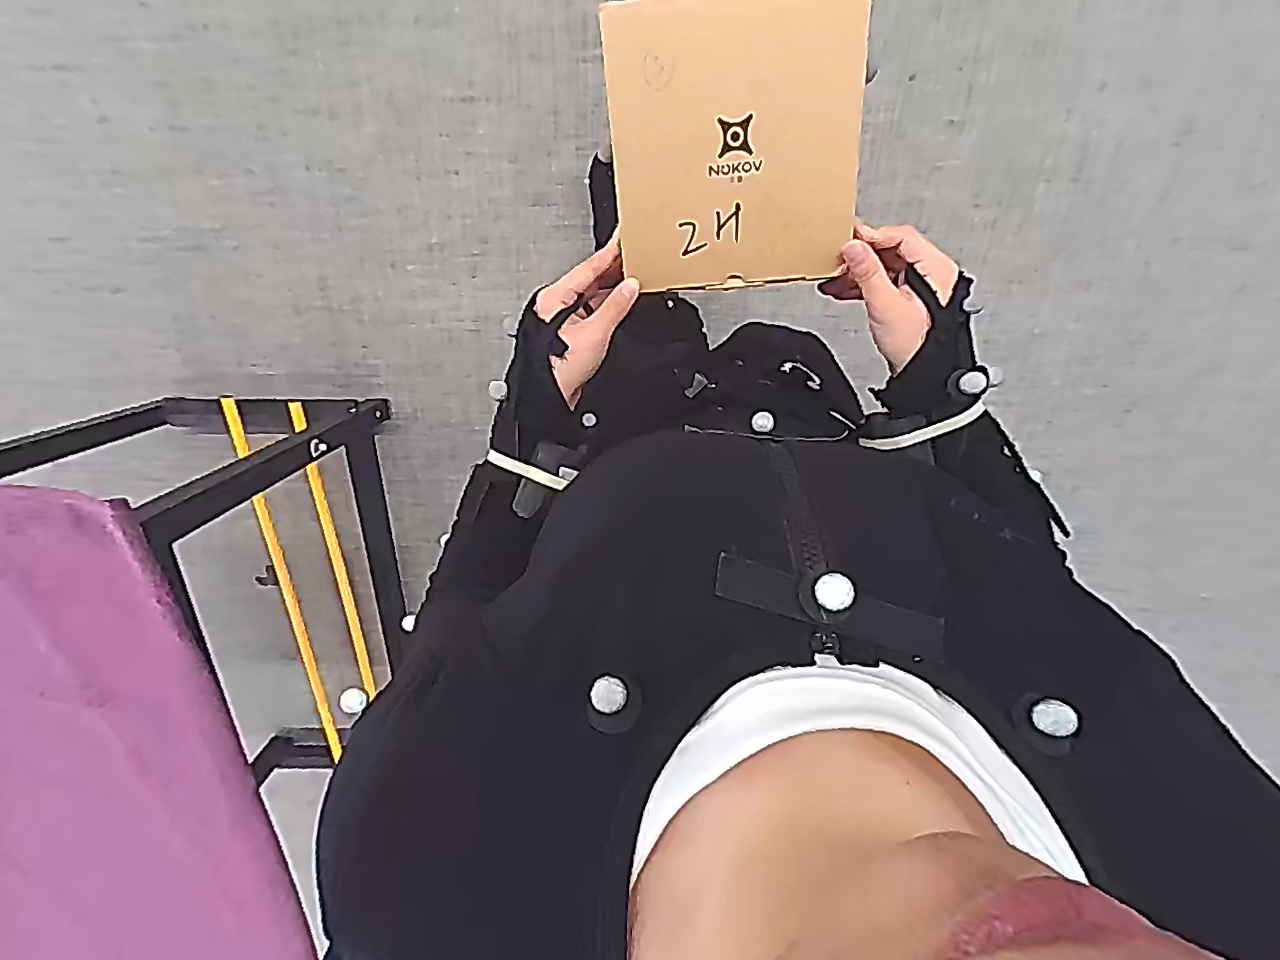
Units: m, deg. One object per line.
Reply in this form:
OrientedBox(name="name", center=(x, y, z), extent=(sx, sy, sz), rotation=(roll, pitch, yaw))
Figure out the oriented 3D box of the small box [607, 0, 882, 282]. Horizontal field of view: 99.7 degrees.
OrientedBox(name="small box", center=(0.071, -0.259, 0.422), extent=(0.168, 0.176, 0.179), rotation=(-2, 116, 6))
